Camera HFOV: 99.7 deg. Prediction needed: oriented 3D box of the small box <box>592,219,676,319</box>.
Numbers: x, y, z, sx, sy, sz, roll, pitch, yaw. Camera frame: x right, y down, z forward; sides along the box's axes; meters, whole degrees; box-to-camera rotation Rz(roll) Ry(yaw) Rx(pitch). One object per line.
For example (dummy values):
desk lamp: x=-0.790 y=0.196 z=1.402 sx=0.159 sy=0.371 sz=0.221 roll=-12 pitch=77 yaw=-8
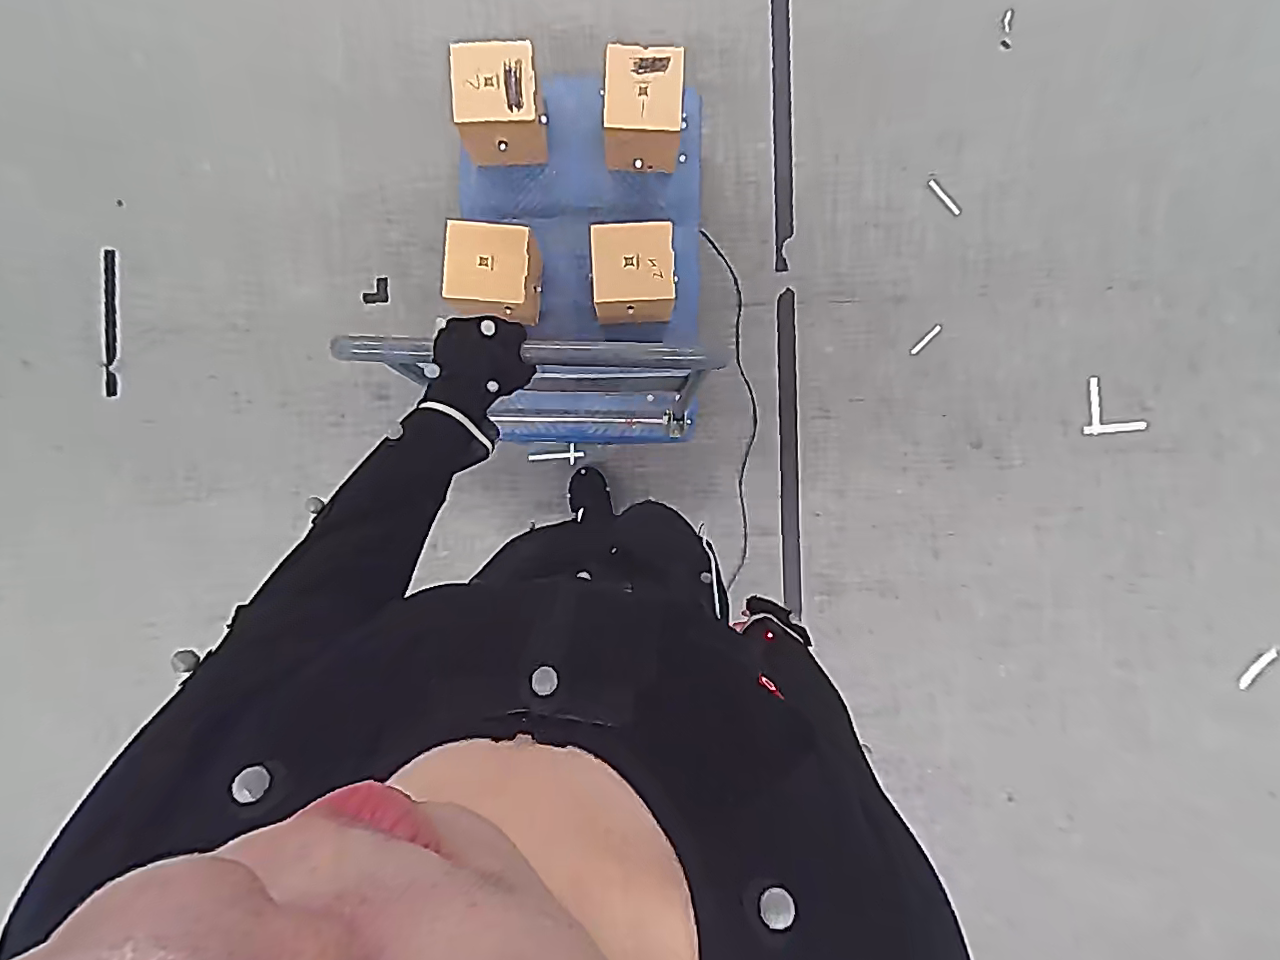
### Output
small box: x=-0.011 y=-0.466 z=1.218 sx=0.179 sy=0.176 sz=0.168 roll=-2 pitch=91 yaw=0

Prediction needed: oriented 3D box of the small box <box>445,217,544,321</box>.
small box: x=-0.320 y=-0.465 z=1.215 sx=0.179 sy=0.176 sz=0.168 roll=4 pitch=91 yaw=-2

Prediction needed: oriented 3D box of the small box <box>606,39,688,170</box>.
small box: x=0.012 y=-0.831 z=1.210 sx=0.168 sy=0.176 sz=0.179 roll=3 pitch=92 yaw=-1
